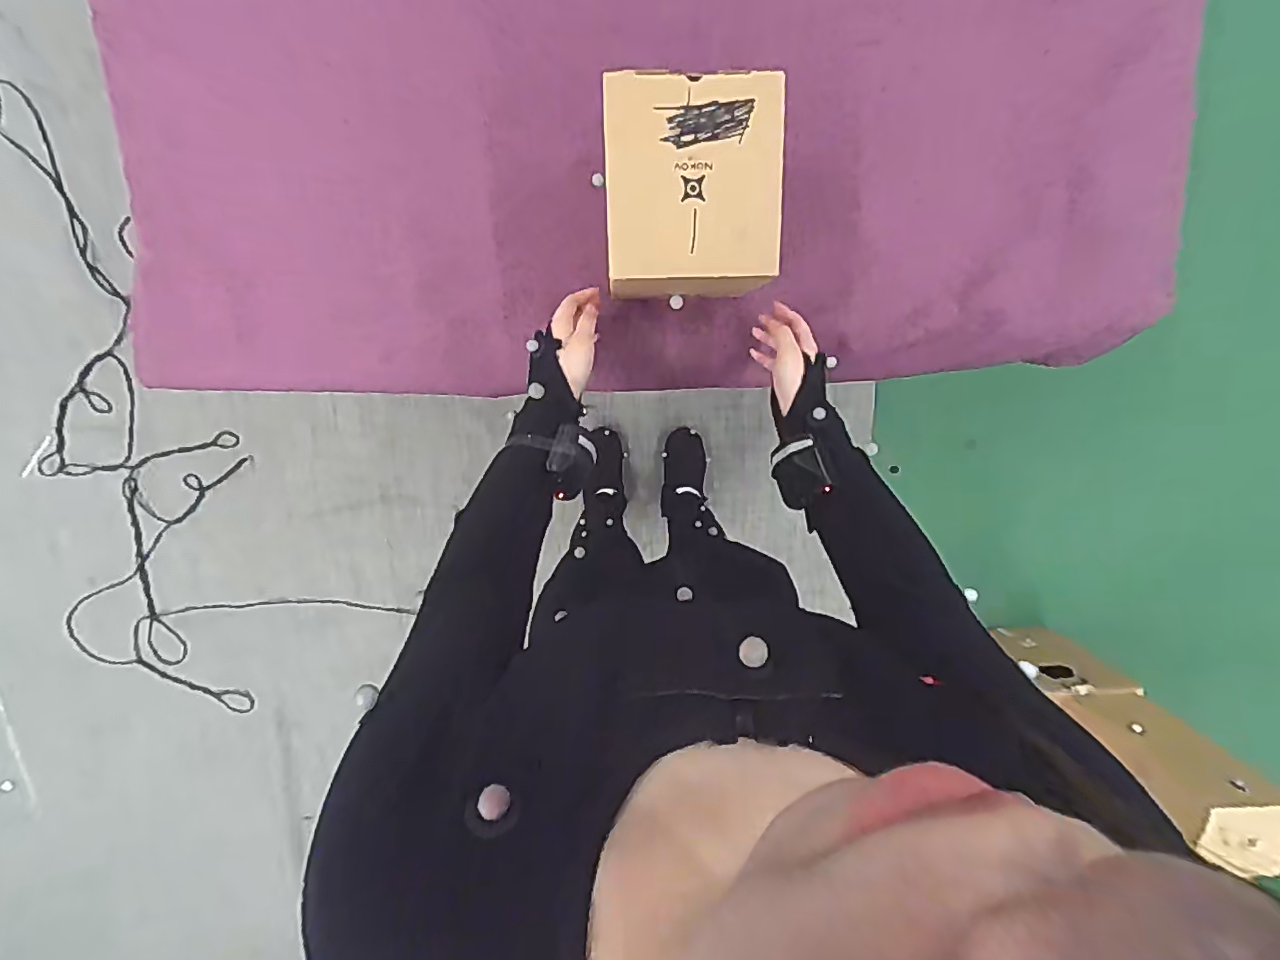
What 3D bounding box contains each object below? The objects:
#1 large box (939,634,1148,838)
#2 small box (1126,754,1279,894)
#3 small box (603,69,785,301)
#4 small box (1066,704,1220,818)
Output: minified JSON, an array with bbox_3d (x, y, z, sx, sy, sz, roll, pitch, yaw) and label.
[{"bbox_3d":[1.066,0.678,1.477,0.320,0.320,0.408,-1,103,-1],"label":"large box"},{"bbox_3d":[1.123,0.663,1.058,0.179,0.176,0.168,-2,103,-1],"label":"small box"},{"bbox_3d":[0.046,-0.290,0.567,0.168,0.176,0.179,-1,102,-1],"label":"small box"},{"bbox_3d":[1.121,0.625,1.218,0.179,0.176,0.168,-1,103,-1],"label":"small box"}]
